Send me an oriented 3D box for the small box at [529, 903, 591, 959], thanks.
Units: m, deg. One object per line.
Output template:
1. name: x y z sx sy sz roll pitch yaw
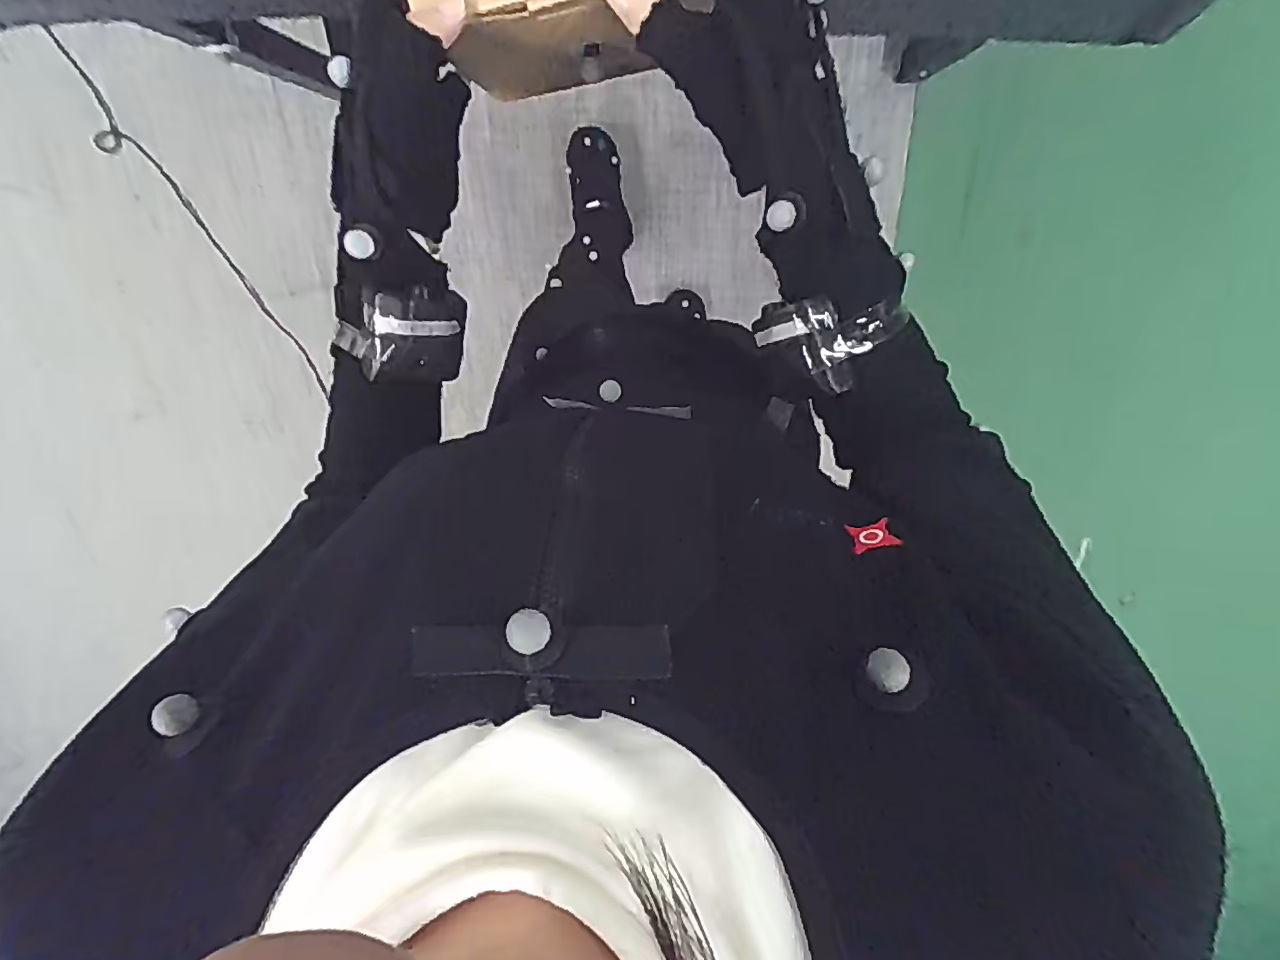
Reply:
1. small box: -0.261 1.562 1.817 0.179 0.176 0.168 1 113 4
